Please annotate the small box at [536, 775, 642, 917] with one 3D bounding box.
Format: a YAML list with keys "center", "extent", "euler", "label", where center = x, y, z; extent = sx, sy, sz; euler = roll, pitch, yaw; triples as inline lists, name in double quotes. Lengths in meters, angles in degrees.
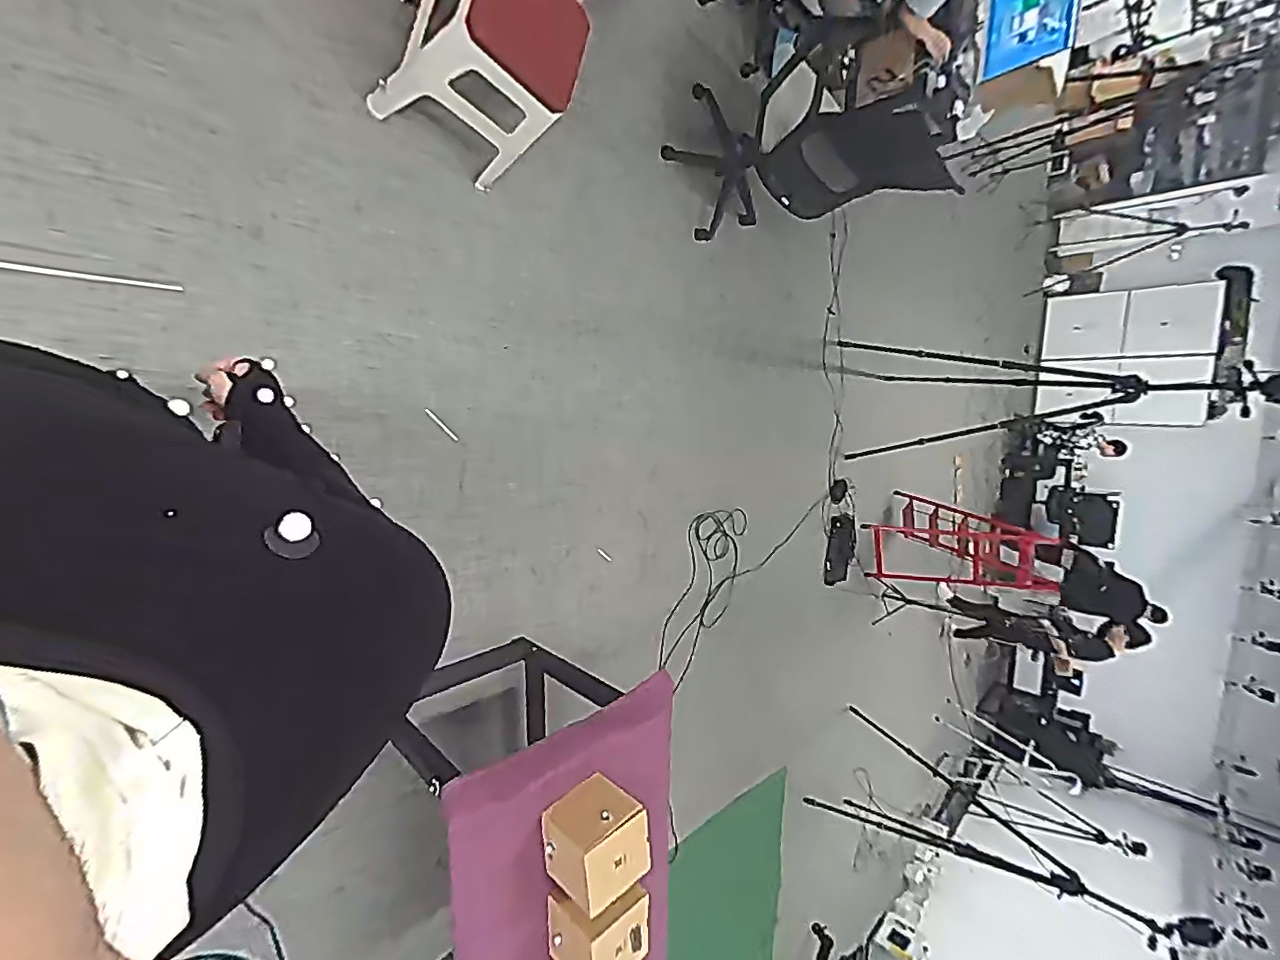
- center: [-0.116, 0.824, 1.242]
  extent: [0.179, 0.176, 0.168]
  euler: [-13, 105, -42]
  label: "small box"

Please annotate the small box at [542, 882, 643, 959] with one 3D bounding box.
- center: [-0.112, 1.048, 1.281]
  extent: [0.179, 0.176, 0.168]
  euler: [-7, 101, -43]
  label: "small box"
